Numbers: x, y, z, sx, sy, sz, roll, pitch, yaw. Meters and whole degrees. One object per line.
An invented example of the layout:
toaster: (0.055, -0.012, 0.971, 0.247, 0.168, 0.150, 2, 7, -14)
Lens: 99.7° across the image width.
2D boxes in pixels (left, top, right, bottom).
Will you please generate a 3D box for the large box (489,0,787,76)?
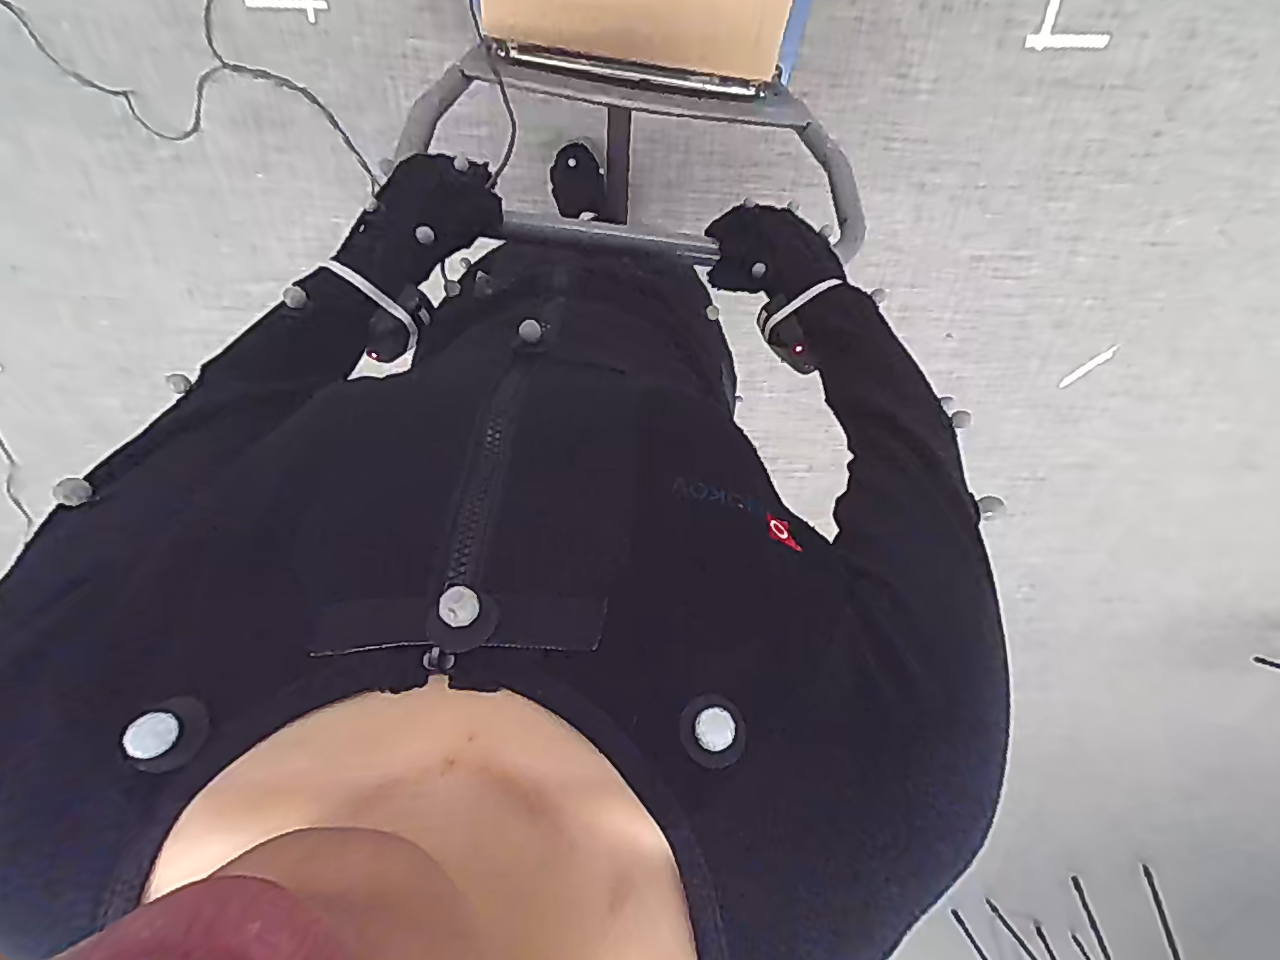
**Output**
large box: (0.002, -0.806, 0.764, 0.408, 0.320, 0.320, 4, 134, -6)
